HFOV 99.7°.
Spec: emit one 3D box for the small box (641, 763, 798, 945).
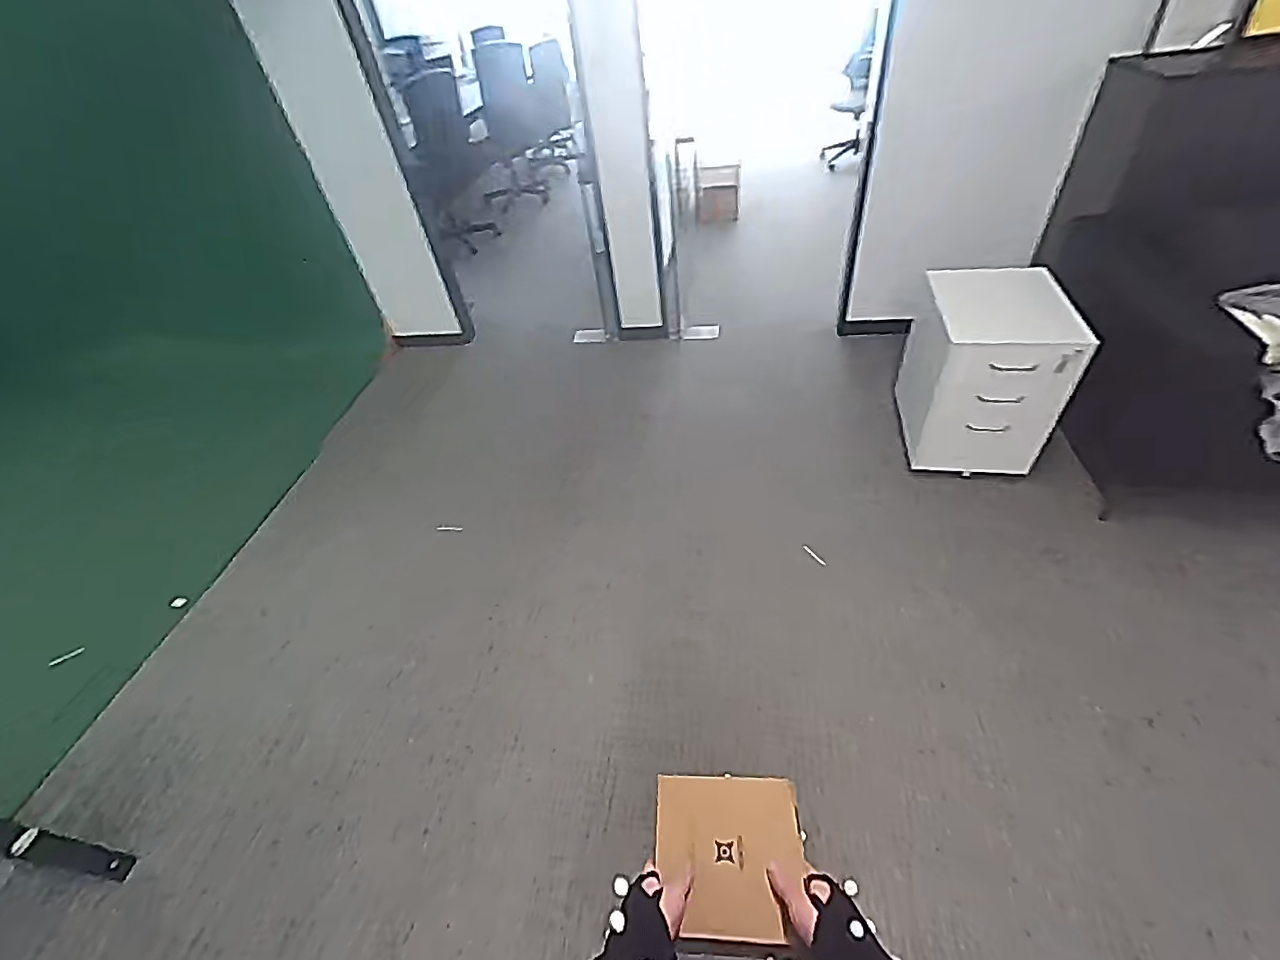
[{"bbox_3d":[0.102,0.490,0.710,0.179,0.176,0.168,-3,43,8],"label":"small box"}]
